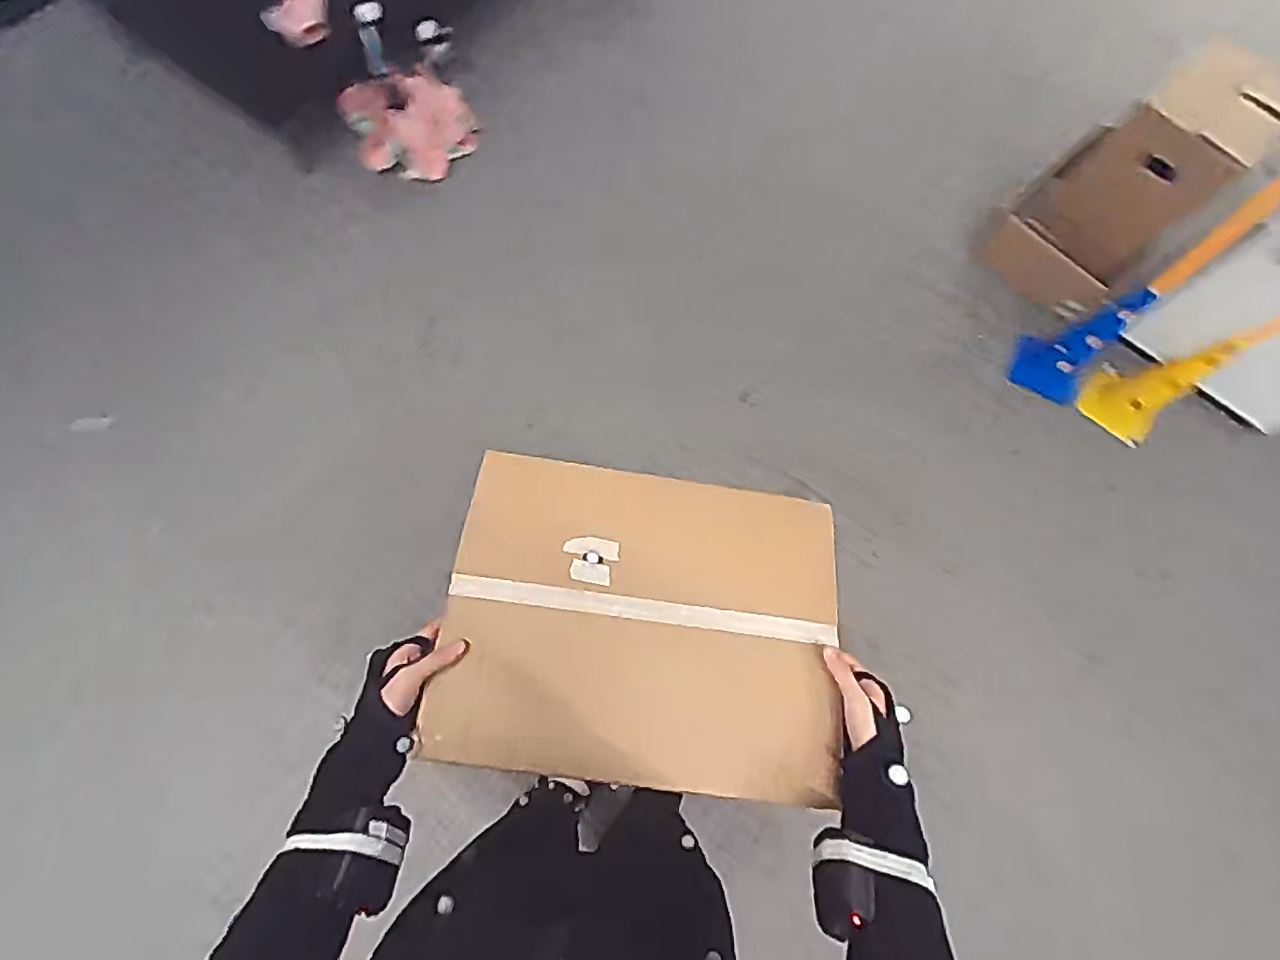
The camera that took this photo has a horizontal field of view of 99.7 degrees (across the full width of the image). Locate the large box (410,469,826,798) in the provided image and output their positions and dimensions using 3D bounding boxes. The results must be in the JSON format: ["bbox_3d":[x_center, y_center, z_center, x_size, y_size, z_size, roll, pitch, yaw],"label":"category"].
[{"bbox_3d":[-0.019,0.207,0.706,0.408,0.320,0.320,7,64,-4],"label":"large box"}]
